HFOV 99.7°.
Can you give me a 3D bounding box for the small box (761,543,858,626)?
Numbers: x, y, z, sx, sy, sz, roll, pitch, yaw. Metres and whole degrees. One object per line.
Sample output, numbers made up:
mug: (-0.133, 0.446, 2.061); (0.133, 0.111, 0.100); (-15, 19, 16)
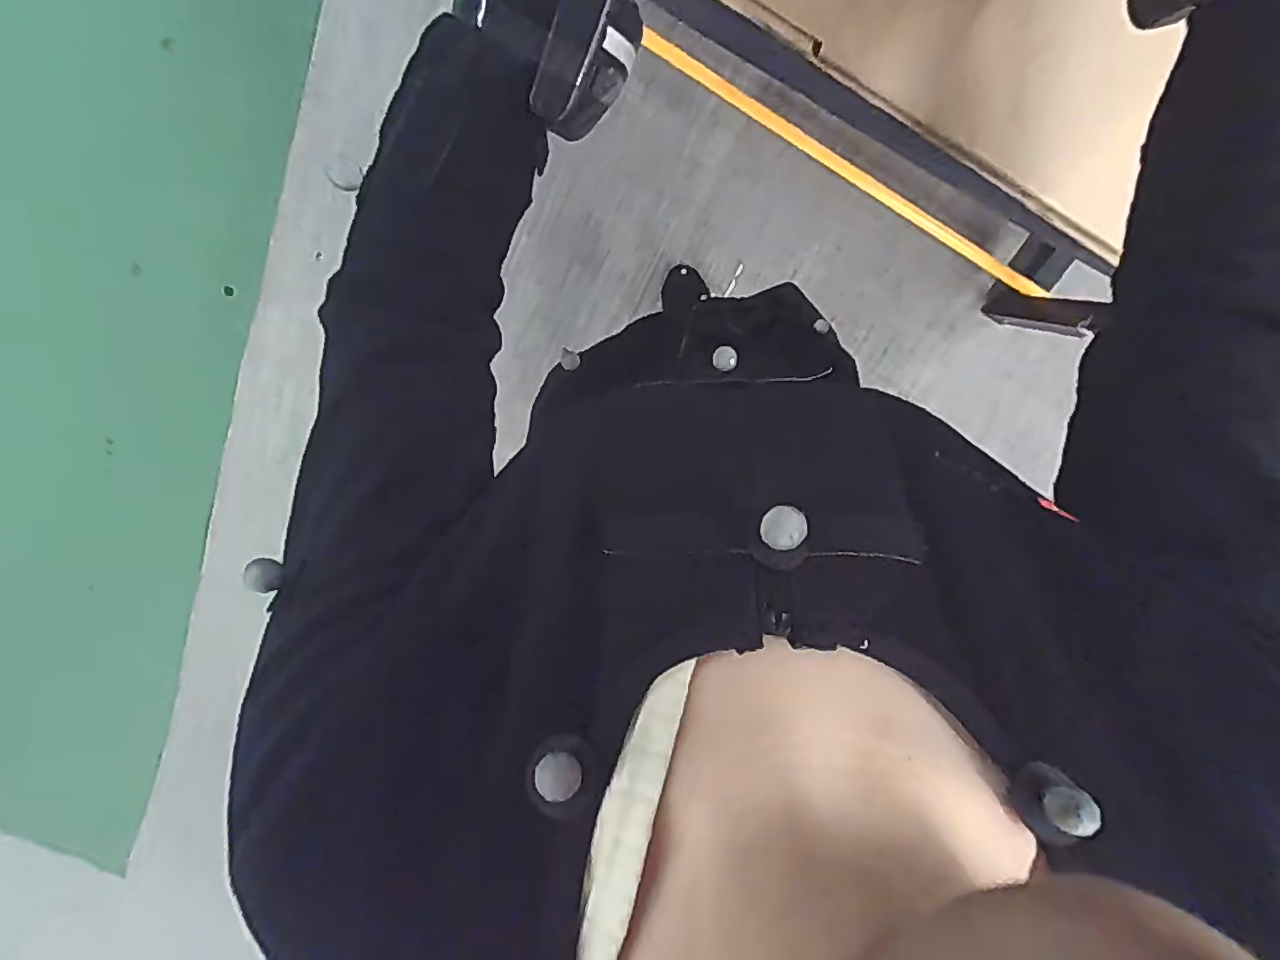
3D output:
small box: (0.436, 0.292, 1.427); (0.168, 0.176, 0.179); (22, 110, -5)
